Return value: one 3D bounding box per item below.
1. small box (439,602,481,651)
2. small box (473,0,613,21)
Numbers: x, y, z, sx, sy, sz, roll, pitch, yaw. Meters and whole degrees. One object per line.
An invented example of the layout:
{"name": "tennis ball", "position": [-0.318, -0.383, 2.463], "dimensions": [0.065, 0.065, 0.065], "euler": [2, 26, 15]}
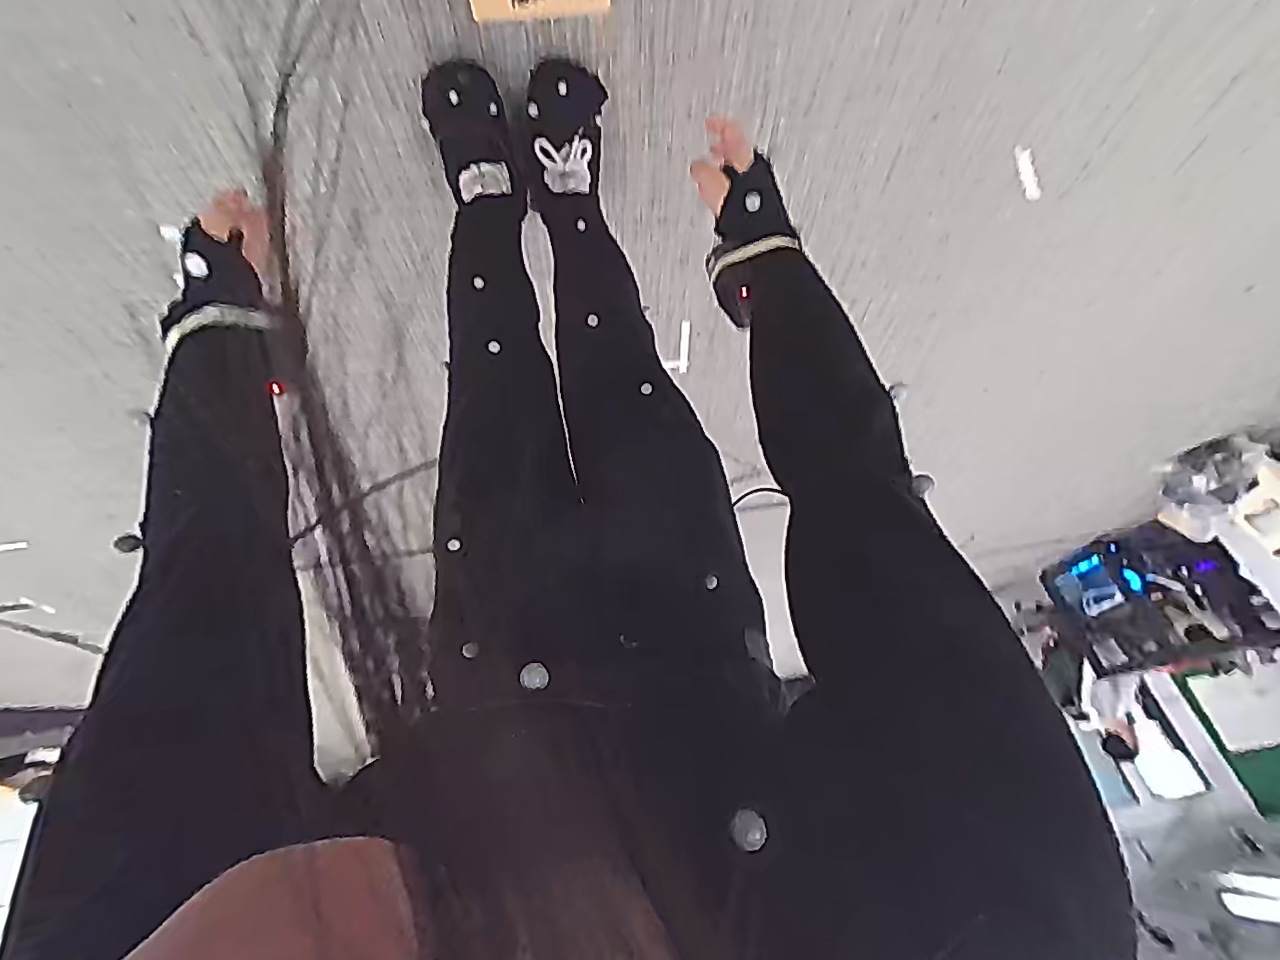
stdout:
{"name": "small box", "position": [-0.841, 0.682, 2.523], "dimensions": [0.179, 0.176, 0.168], "euler": [1, 146, -21]}
{"name": "small box", "position": [-0.126, -0.663, 0.614], "dimensions": [0.168, 0.176, 0.179], "euler": [-9, 147, -5]}
